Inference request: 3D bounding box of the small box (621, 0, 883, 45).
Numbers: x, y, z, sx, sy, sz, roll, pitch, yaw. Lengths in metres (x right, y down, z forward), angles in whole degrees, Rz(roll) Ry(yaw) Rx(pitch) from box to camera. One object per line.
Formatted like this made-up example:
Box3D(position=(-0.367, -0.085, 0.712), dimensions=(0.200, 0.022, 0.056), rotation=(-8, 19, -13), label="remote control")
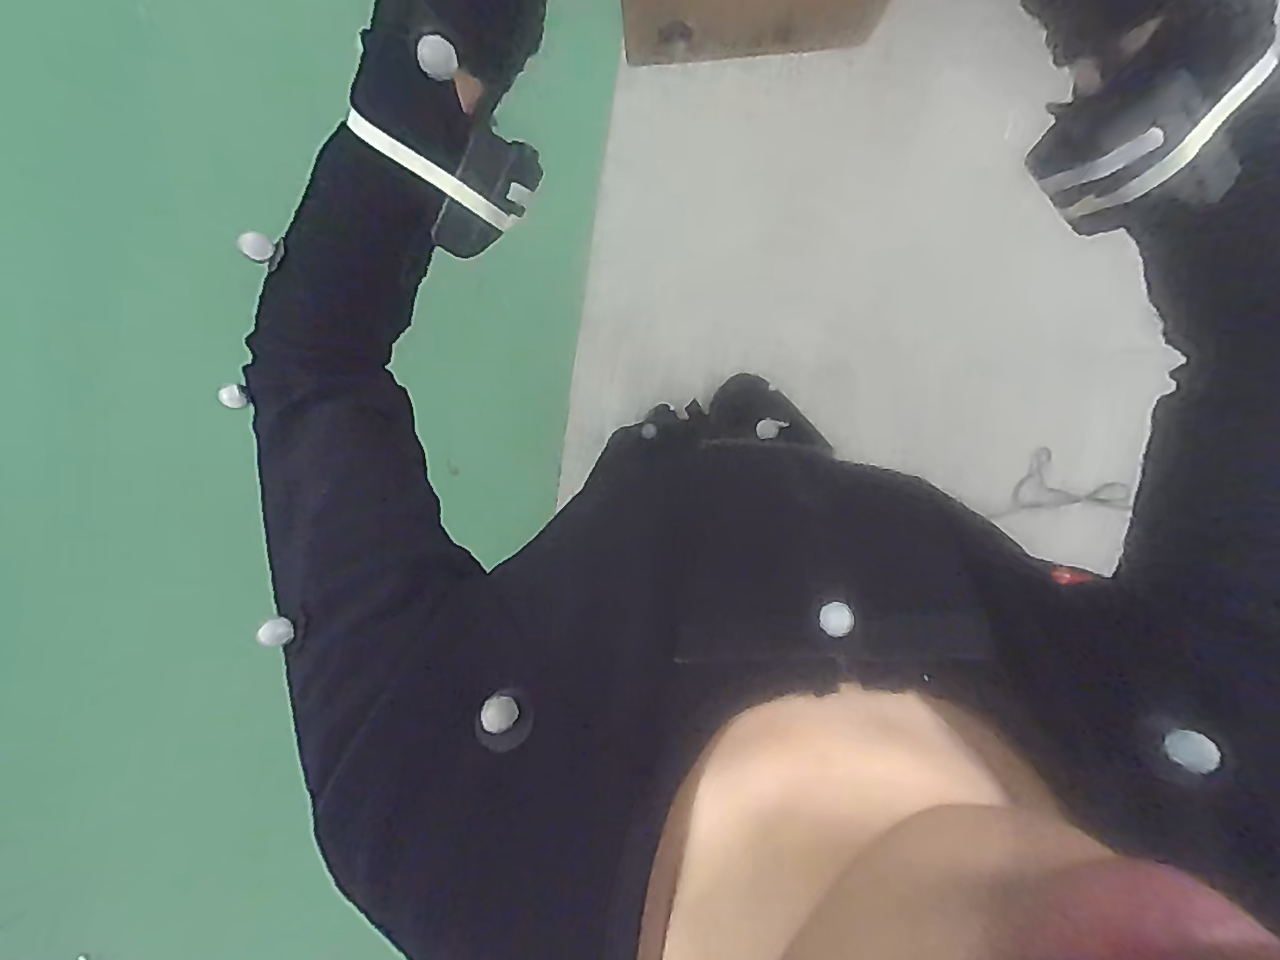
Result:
Box3D(position=(0.065, -0.360, 0.271), dimensions=(0.168, 0.176, 0.179), rotation=(-3, 96, 2), label="small box")
